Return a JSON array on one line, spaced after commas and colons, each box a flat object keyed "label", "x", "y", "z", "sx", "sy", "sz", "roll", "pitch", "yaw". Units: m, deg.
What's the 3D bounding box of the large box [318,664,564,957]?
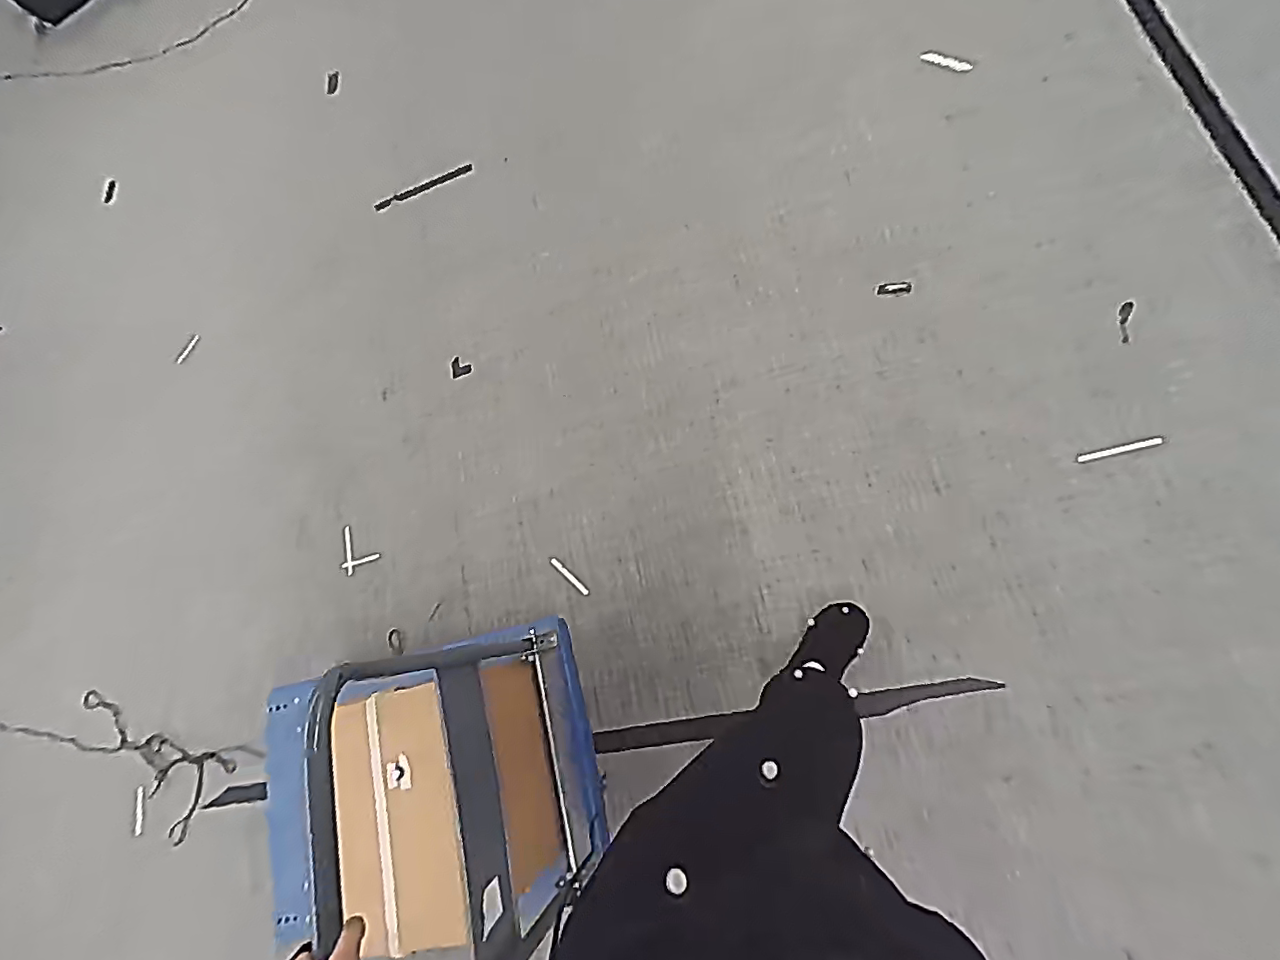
[{"label": "large box", "x": -0.387, "y": 0.622, "z": 1.088, "sx": 0.320, "sy": 0.320, "sz": 0.408, "roll": -18, "pitch": 73, "yaw": 12}]
